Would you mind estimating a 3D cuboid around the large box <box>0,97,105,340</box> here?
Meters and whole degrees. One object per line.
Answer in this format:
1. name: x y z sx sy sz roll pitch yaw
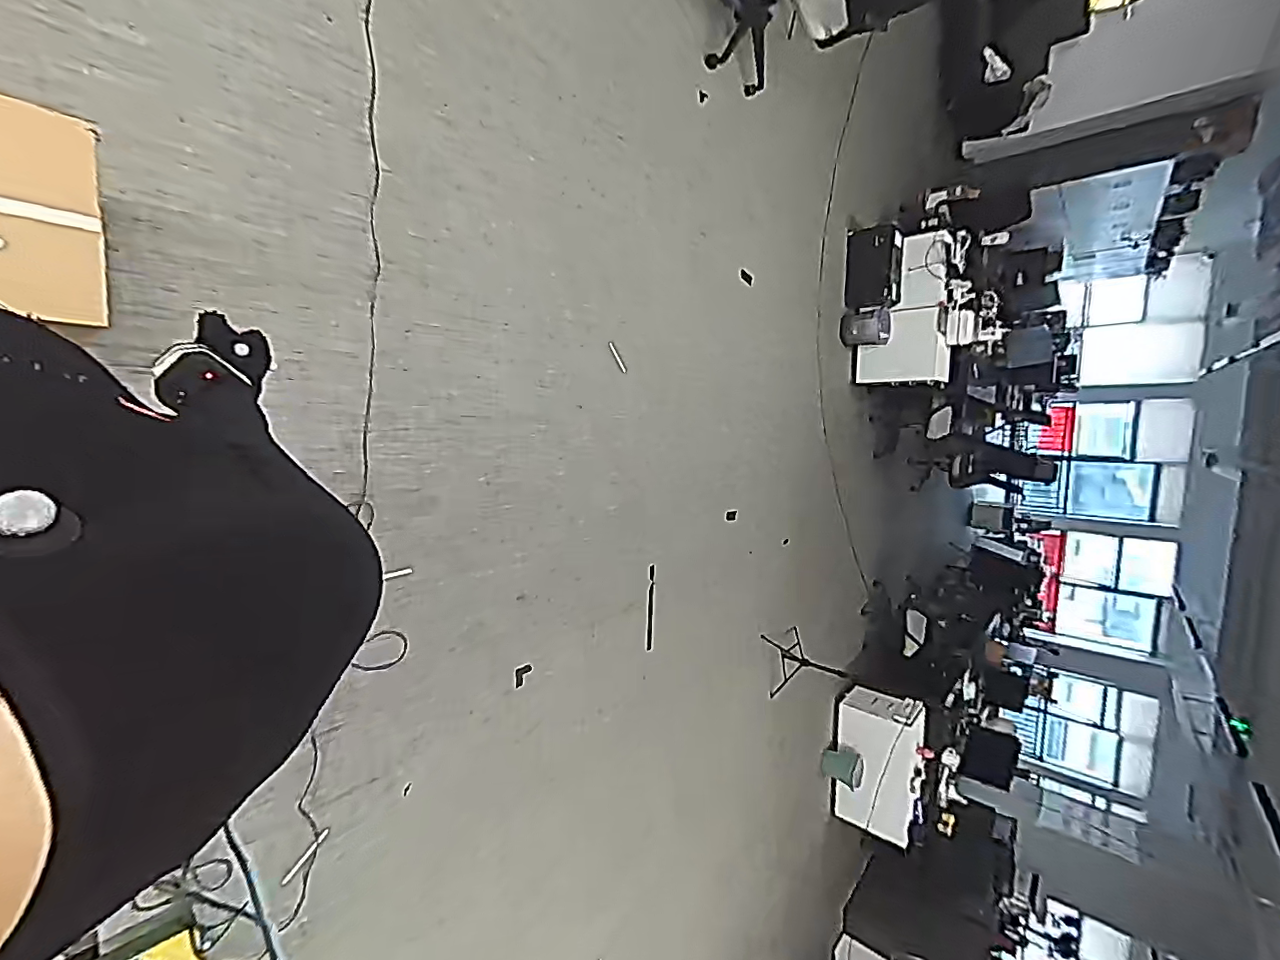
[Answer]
1. large box: -1.108 -0.401 0.802 0.408 0.320 0.320 -6 99 -50
